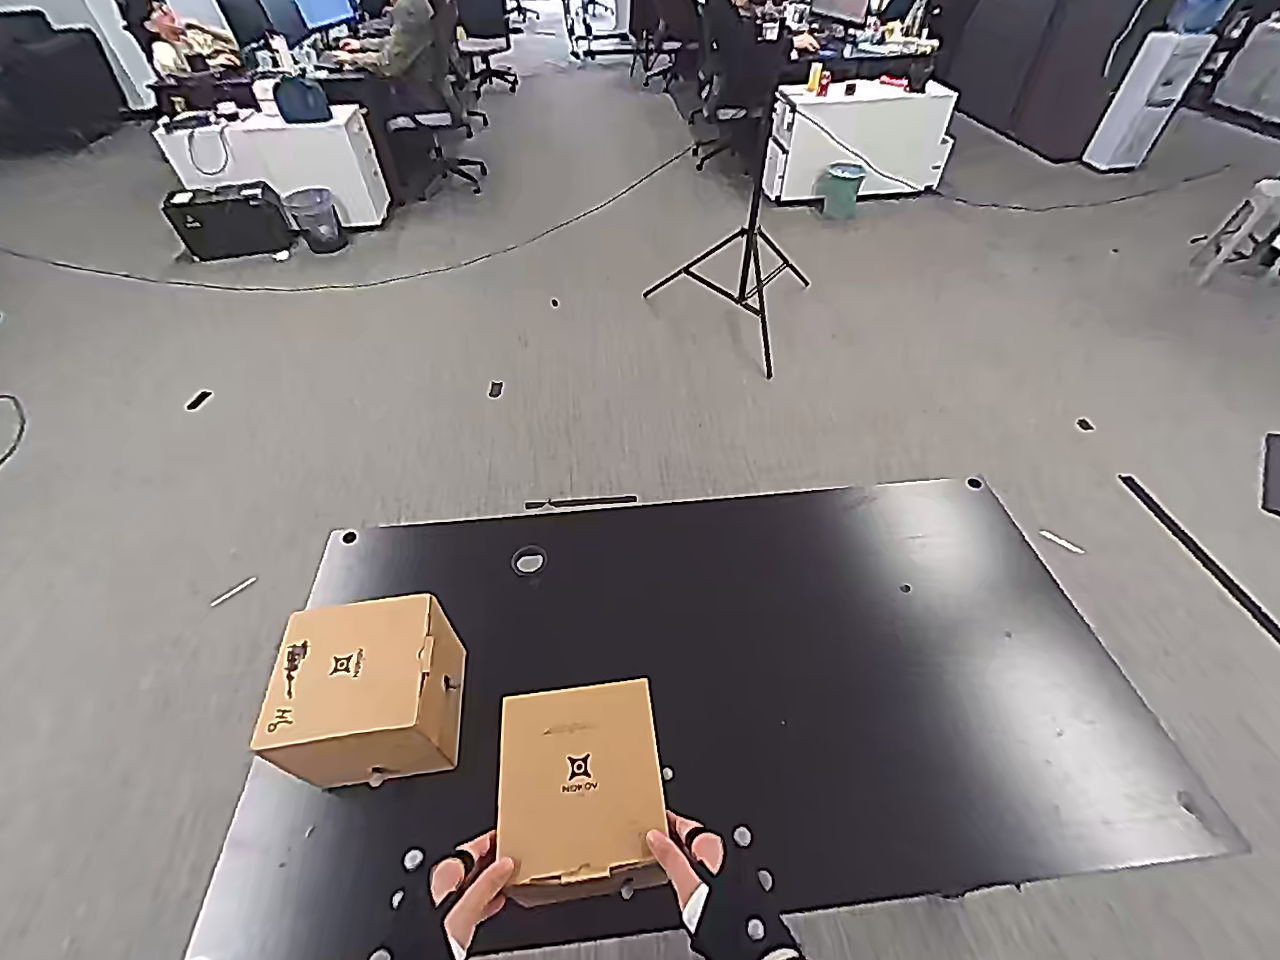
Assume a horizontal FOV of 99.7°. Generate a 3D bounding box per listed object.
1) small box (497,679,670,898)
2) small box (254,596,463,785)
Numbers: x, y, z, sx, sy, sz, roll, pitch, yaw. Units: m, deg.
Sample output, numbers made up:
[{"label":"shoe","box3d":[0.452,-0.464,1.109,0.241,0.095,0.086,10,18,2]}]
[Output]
[{"label":"small box","box3d":[-0.061,0.353,0.614,0.168,0.176,0.179,-5,47,-6]},{"label":"small box","box3d":[-0.334,0.269,0.689,0.179,0.176,0.168,-6,48,-6]}]
